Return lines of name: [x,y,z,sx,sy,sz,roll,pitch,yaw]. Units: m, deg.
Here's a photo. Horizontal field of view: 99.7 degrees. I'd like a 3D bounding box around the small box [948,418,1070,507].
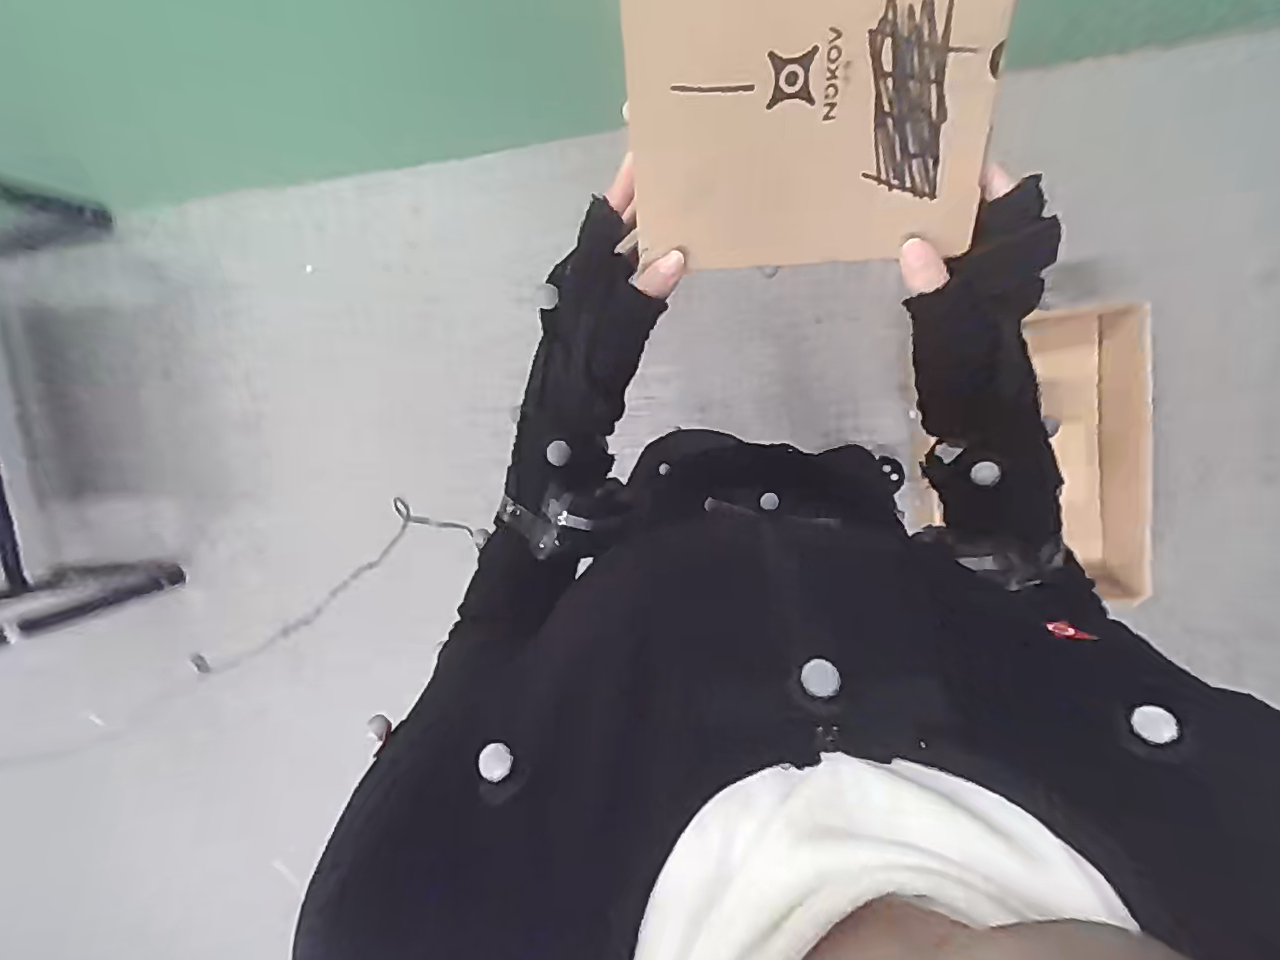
small box: [0.793,-0.043,1.180,0.179,0.176,0.168,-5,99,10]
